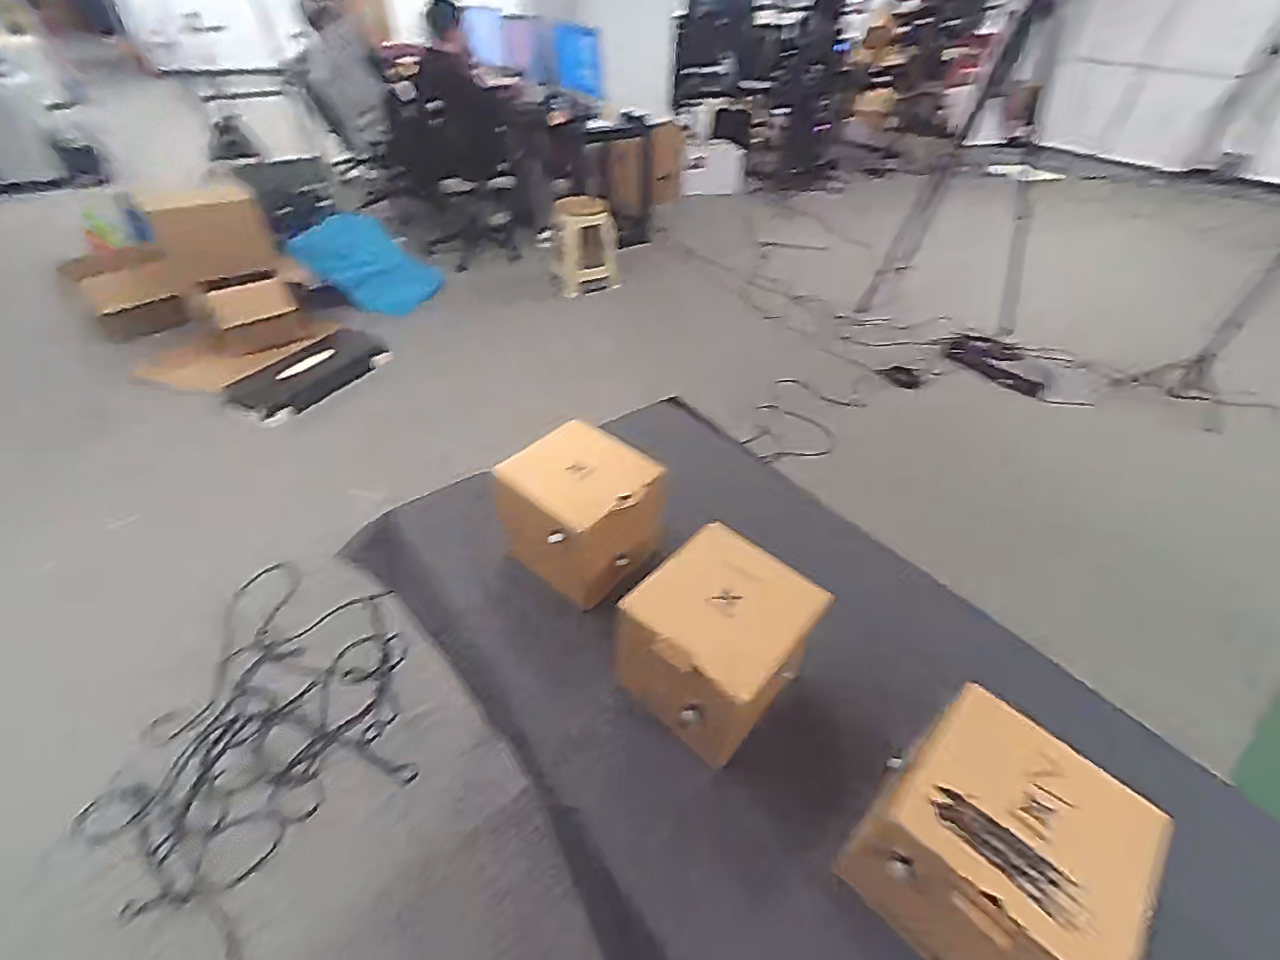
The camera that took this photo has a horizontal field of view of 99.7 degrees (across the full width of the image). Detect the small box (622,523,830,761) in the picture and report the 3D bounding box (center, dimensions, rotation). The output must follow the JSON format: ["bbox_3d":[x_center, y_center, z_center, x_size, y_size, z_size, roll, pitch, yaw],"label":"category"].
[{"bbox_3d":[0.094,0.192,0.646,0.168,0.176,0.179,34,49,27],"label":"small box"}]

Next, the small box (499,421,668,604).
[{"bbox_3d":[-0.082,0.047,0.795,0.179,0.176,0.168,32,48,26],"label":"small box"}]
